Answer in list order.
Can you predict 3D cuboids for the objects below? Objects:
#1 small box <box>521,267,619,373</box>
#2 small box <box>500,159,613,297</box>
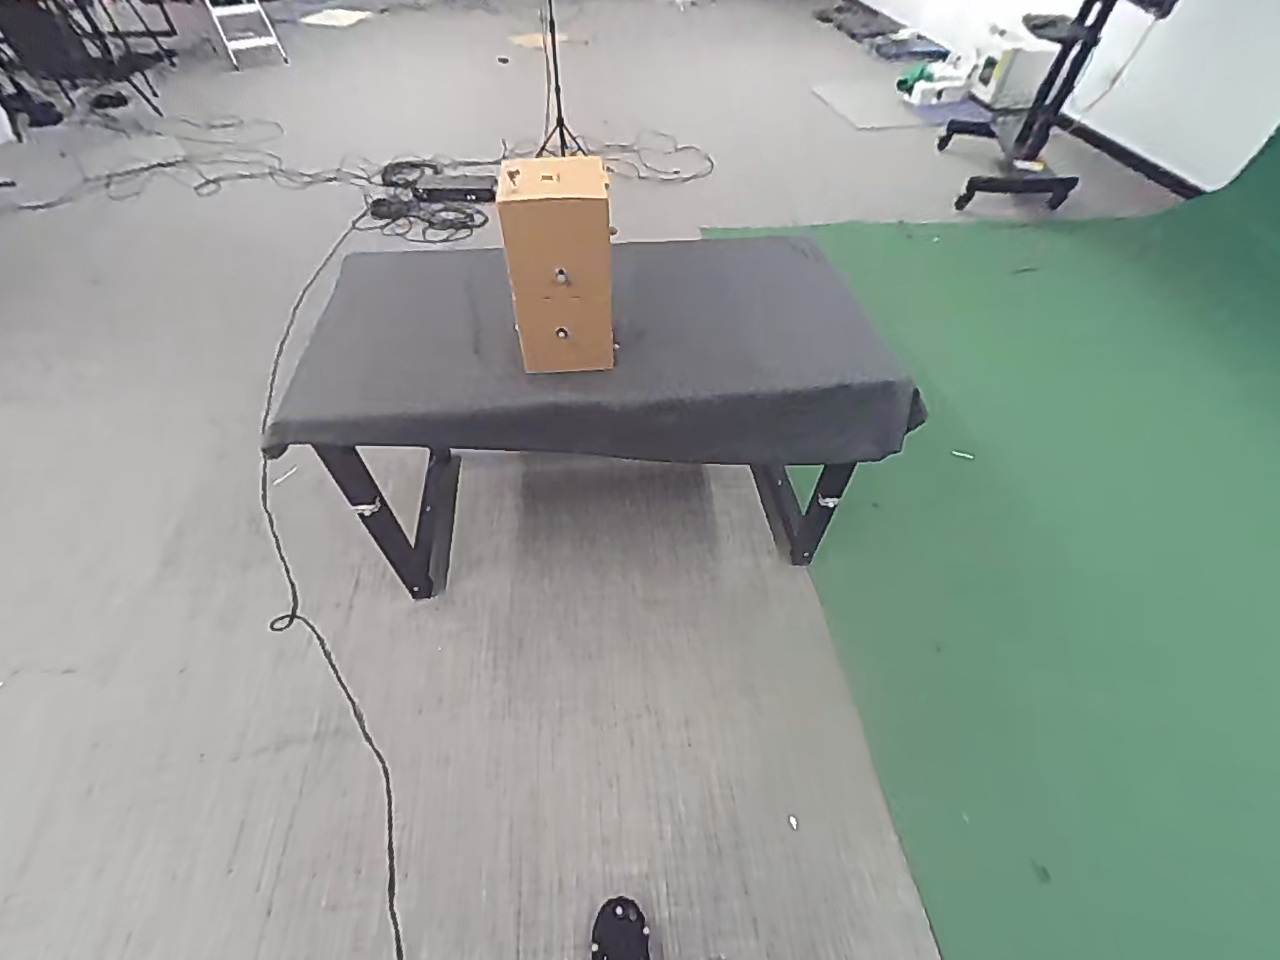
[{"bbox_3d":[-0.138,-0.330,1.069,0.179,0.176,0.168,-6,51,-7],"label":"small box"},{"bbox_3d":[-0.138,-0.437,0.946,0.179,0.176,0.168,-4,50,-4],"label":"small box"}]
